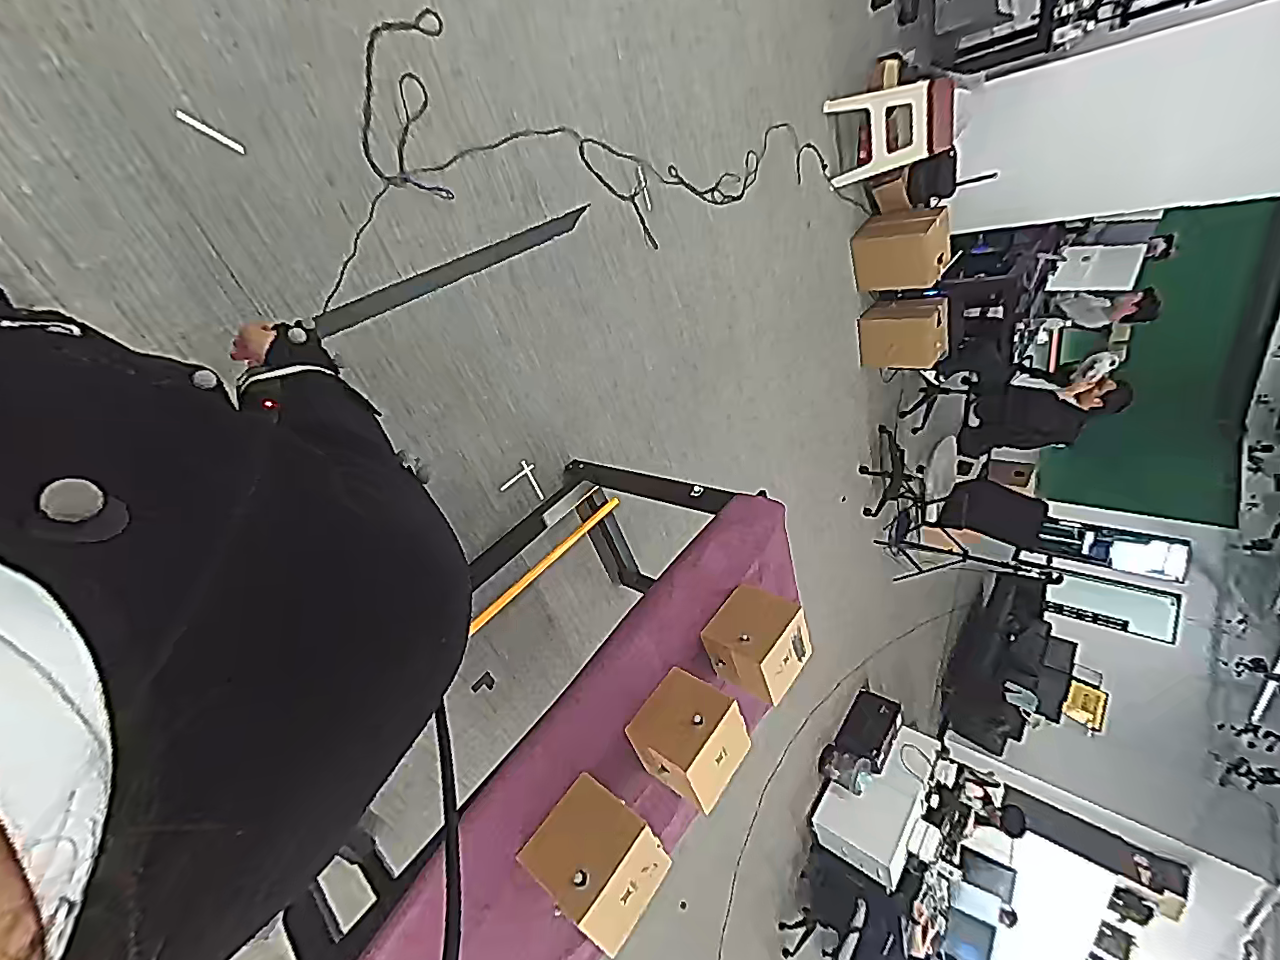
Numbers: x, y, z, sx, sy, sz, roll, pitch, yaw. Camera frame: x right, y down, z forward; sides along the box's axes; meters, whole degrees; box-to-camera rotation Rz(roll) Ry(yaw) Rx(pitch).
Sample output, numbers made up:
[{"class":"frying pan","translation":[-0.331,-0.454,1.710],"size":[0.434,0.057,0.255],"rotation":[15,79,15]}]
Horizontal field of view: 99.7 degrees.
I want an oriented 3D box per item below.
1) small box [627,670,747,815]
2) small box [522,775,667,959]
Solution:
[{"class":"small box","translation":[0.093,0.534,1.121],"size":[0.179,0.176,0.168],"rotation":[-43,128,-33]},{"class":"small box","translation":[-0.085,0.675,0.959],"size":[0.179,0.176,0.168],"rotation":[-43,130,-32]}]
